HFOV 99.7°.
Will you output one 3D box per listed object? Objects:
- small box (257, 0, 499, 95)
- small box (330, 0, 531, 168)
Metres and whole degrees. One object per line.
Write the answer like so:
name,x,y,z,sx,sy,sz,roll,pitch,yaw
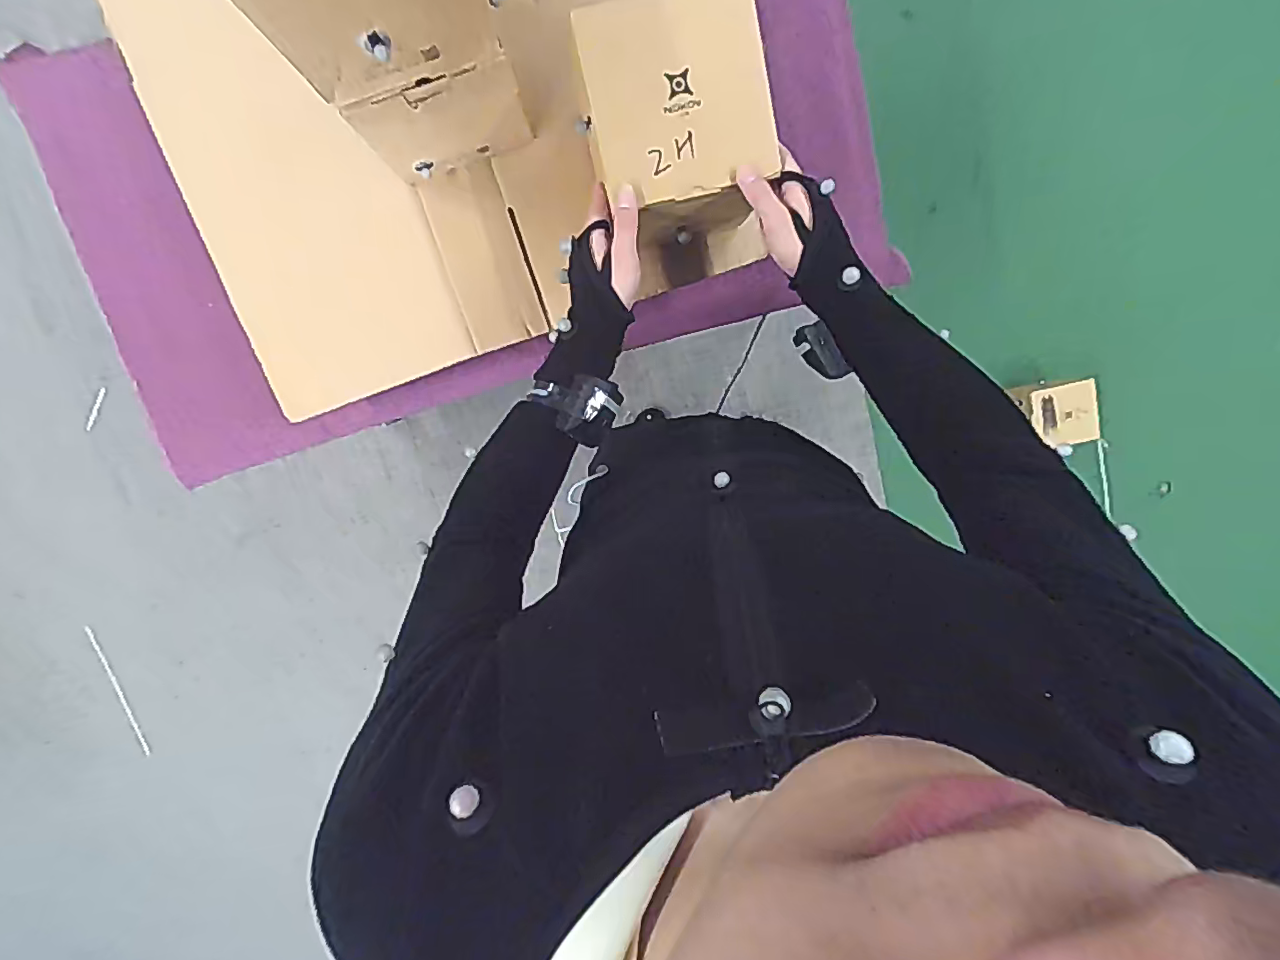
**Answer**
small box,-0.222,-0.435,0.392,0.168,0.176,0.179,-20,100,0
small box,-0.224,-0.452,0.553,0.168,0.176,0.179,-19,98,0
